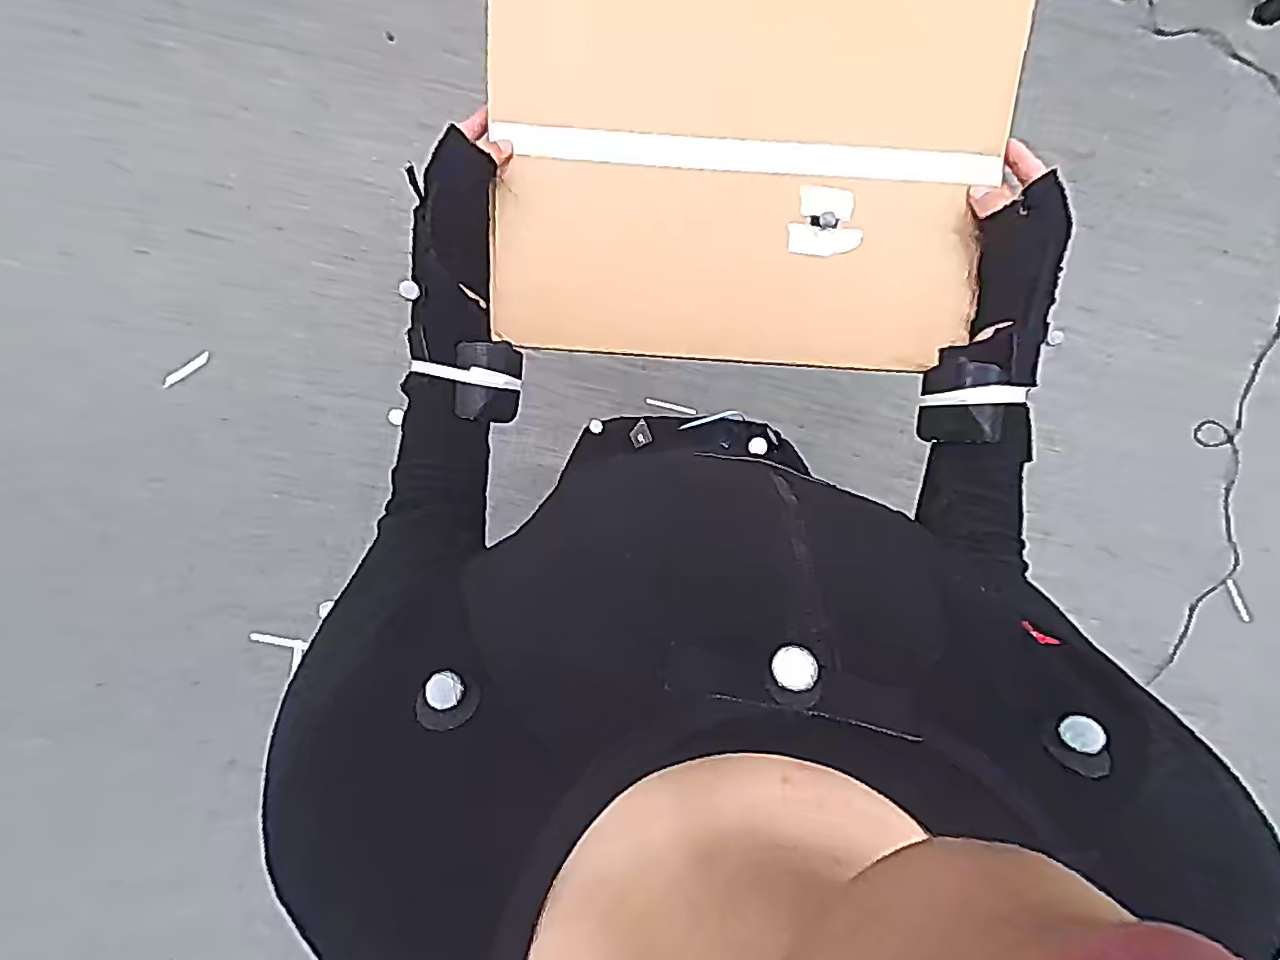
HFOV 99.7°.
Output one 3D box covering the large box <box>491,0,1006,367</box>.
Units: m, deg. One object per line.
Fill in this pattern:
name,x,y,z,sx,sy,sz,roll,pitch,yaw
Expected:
large box,0.075,-0.293,0.585,0.408,0.320,0.320,3,105,-2
